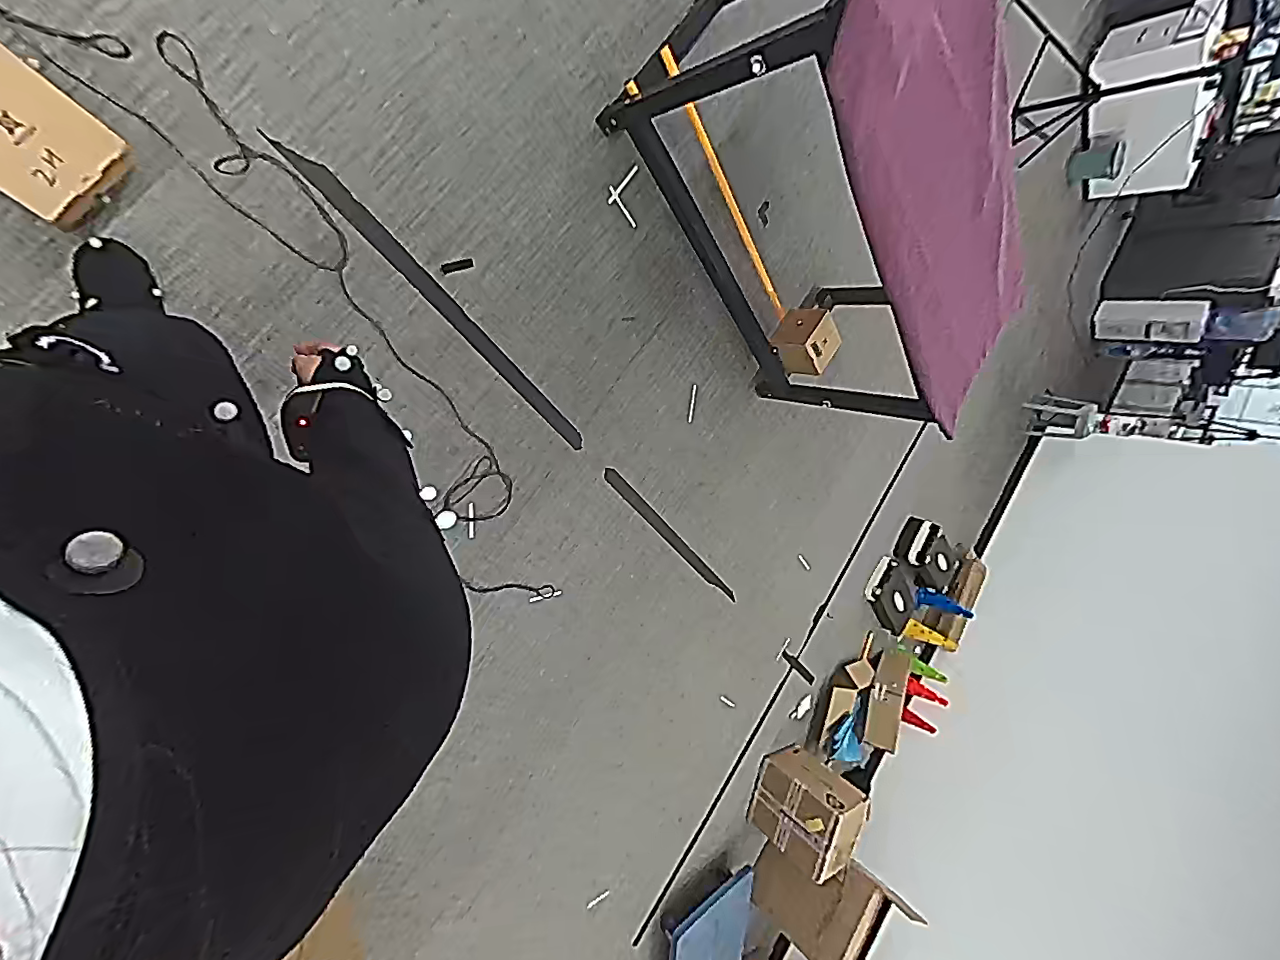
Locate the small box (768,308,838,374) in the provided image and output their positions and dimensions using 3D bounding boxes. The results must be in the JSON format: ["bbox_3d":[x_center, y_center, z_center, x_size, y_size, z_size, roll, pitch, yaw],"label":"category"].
[{"bbox_3d":[0.598,-0.517,2.007,0.179,0.176,0.168,-55,131,-14],"label":"small box"}]

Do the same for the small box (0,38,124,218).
[{"bbox_3d":[-0.919,-0.514,0.796,0.168,0.176,0.179,-56,133,-11],"label":"small box"}]
